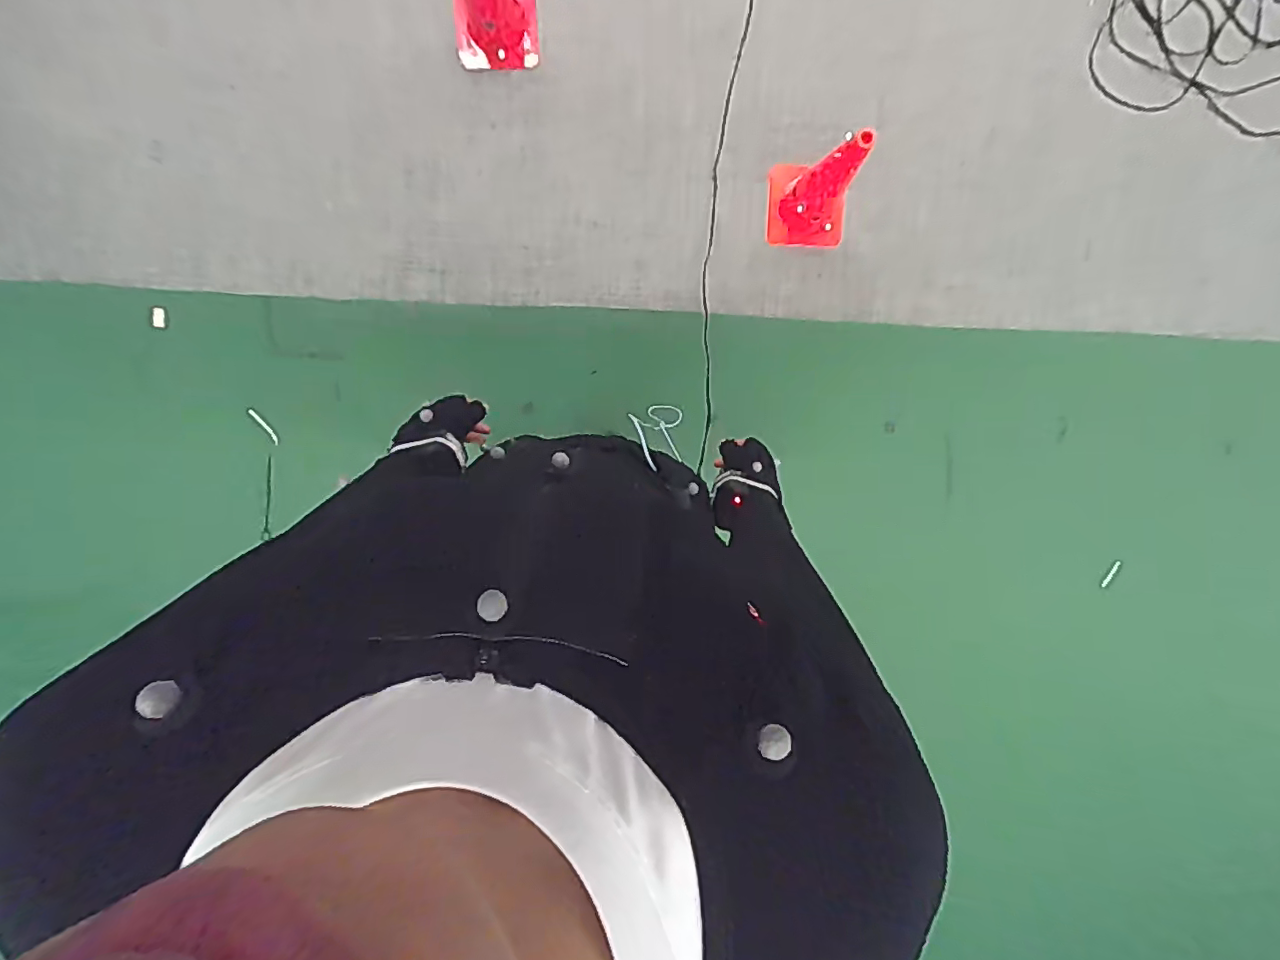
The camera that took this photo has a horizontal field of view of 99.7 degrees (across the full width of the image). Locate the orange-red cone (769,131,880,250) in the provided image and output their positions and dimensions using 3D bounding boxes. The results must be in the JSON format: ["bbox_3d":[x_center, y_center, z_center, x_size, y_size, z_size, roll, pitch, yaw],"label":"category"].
[{"bbox_3d":[0.449,-0.696,1.249,0.198,0.360,0.199,3,95,-3],"label":"orange-red cone"}]

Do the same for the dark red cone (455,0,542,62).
[{"bbox_3d":[-0.339,-1.106,1.154,0.202,0.394,0.201,-3,98,-2],"label":"dark red cone"}]
